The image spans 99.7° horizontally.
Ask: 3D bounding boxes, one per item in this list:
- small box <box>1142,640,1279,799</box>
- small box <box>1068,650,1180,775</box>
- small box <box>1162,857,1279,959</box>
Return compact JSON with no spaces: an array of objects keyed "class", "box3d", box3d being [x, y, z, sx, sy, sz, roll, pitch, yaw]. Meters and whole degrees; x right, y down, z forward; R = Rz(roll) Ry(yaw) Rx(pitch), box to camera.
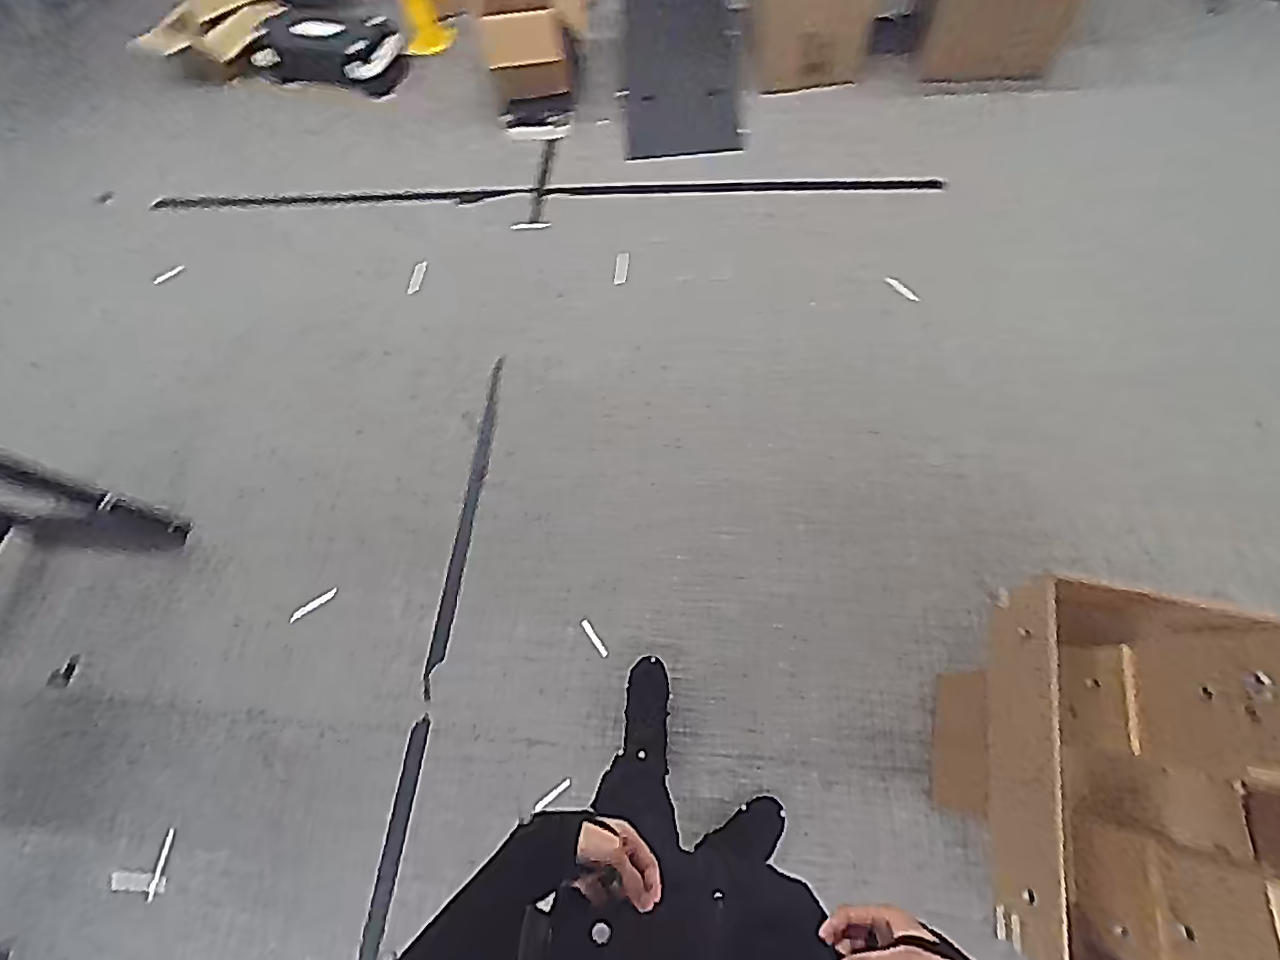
[{"class":"small box","box3d":[0.856,0.338,0.756,0.168,0.176,0.179,12,70,9]},{"class":"small box","box3d":[0.860,0.395,0.911,0.179,0.176,0.168,10,70,8]},{"class":"small box","box3d":[0.791,0.594,0.650,0.168,0.176,0.179,10,69,8]}]
